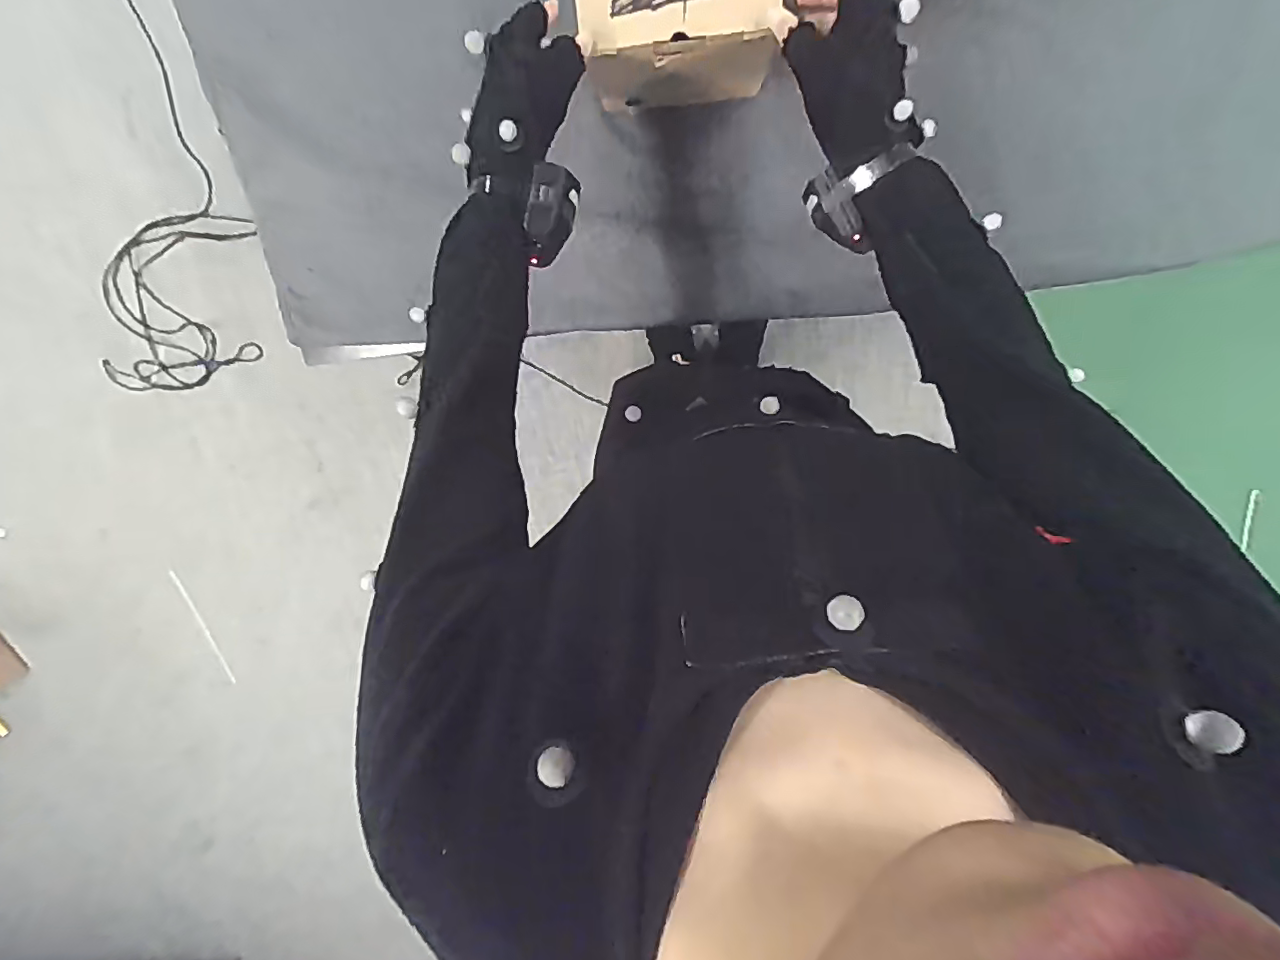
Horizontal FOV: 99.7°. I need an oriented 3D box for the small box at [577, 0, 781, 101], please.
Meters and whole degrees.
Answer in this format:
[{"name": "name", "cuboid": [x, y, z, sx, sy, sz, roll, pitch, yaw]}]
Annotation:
[{"name": "small box", "cuboid": [0.035, -0.465, 0.484, 0.168, 0.176, 0.179, -2, 110, 6]}]
